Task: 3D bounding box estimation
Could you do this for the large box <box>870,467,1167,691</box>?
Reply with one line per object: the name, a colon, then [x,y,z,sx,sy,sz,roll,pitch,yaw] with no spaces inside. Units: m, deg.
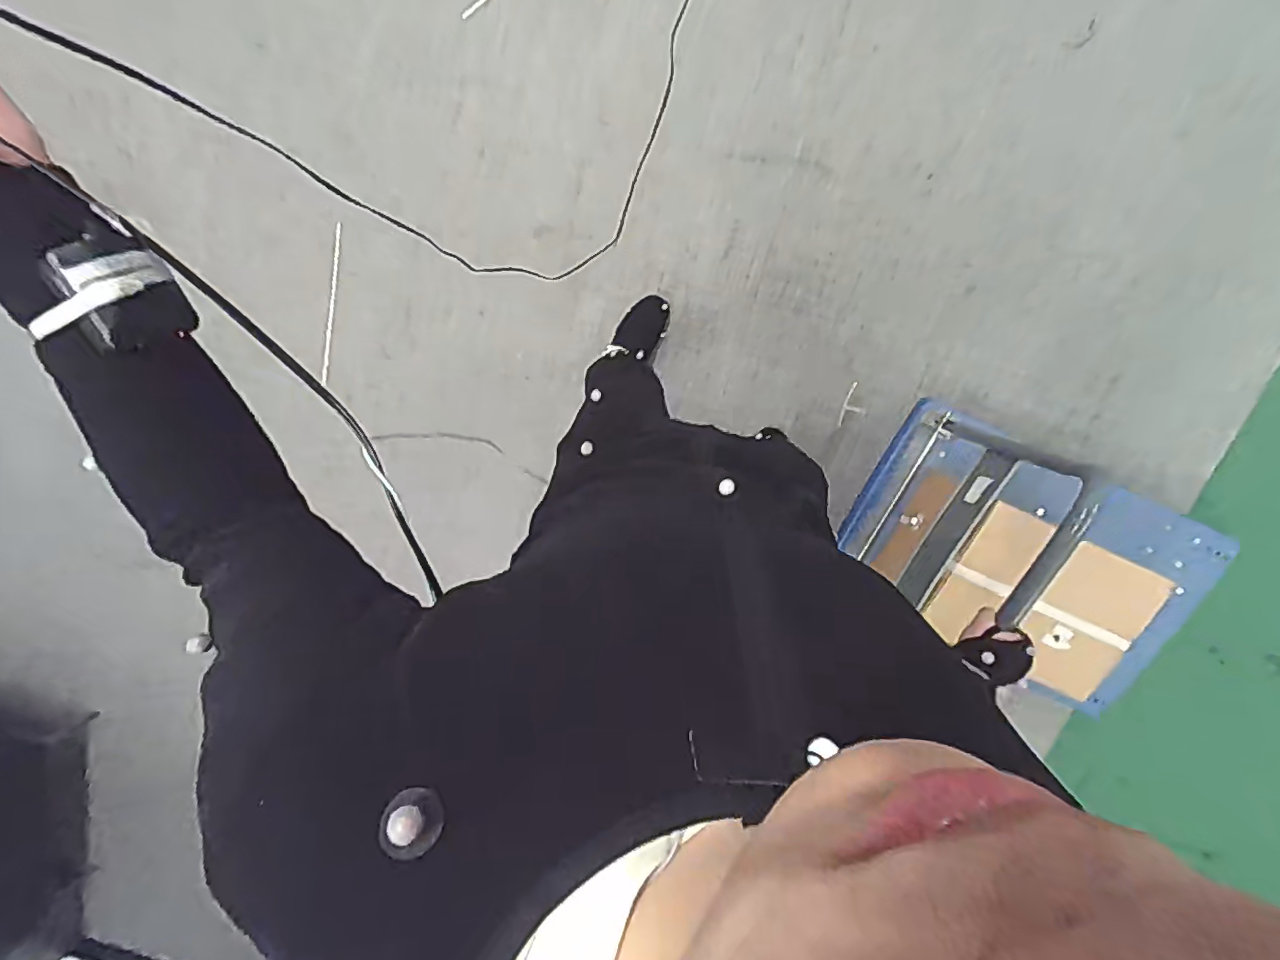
large box: [0.834,0.207,1.265,0.408,0.320,0.320,24,106,-1]
